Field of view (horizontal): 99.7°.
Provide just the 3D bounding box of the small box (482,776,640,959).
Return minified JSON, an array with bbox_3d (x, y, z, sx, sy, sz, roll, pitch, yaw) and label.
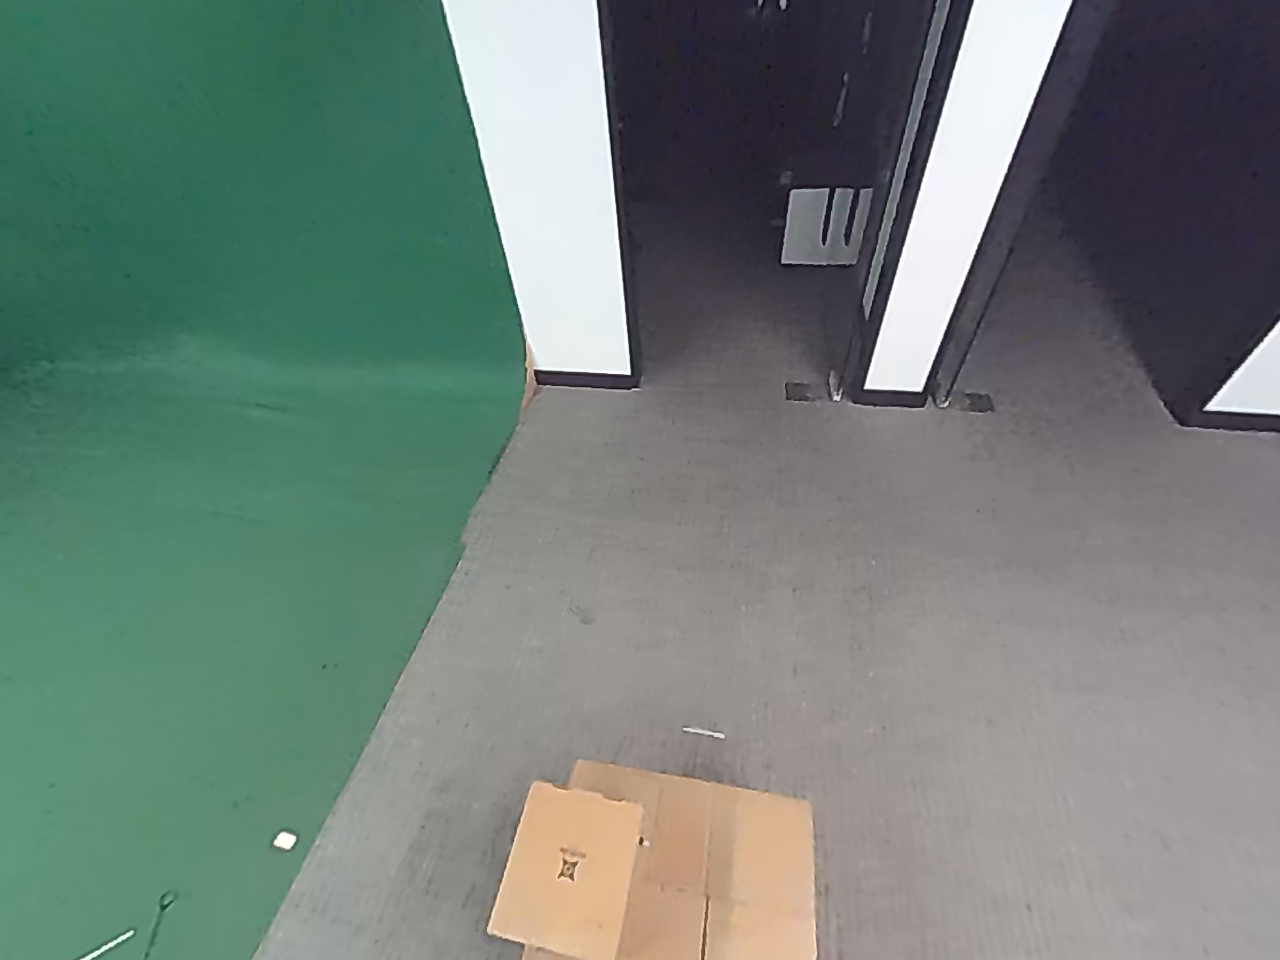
[{"bbox_3d":[-0.096,0.555,0.769,0.168,0.176,0.179,8,48,10],"label":"small box"}]
